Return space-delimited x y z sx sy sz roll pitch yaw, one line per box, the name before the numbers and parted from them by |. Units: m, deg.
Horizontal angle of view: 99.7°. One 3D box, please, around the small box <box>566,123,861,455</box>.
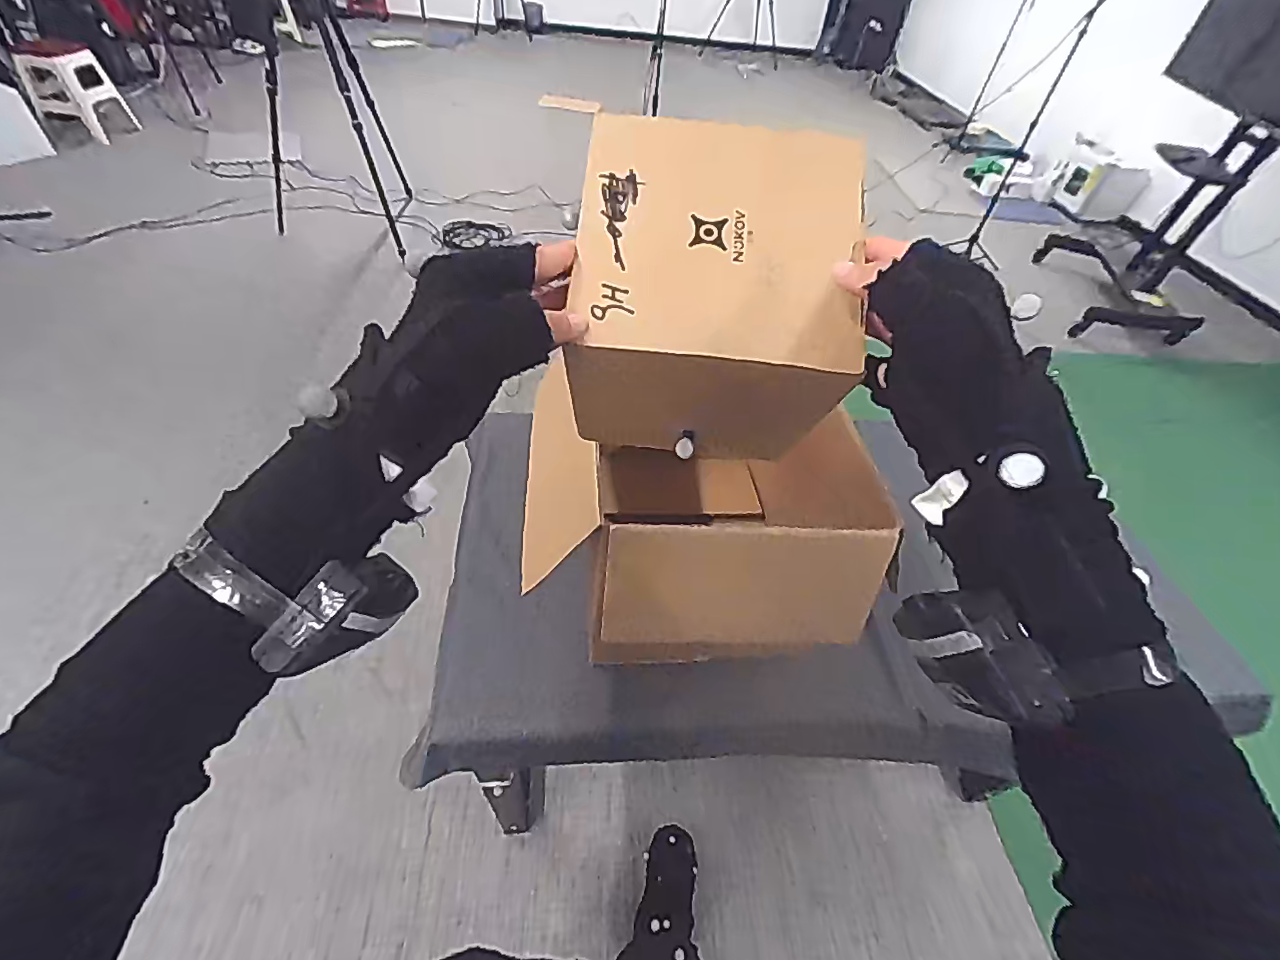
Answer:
small box | 0.046 -0.124 0.412 0.179 0.176 0.168 7 75 -2
